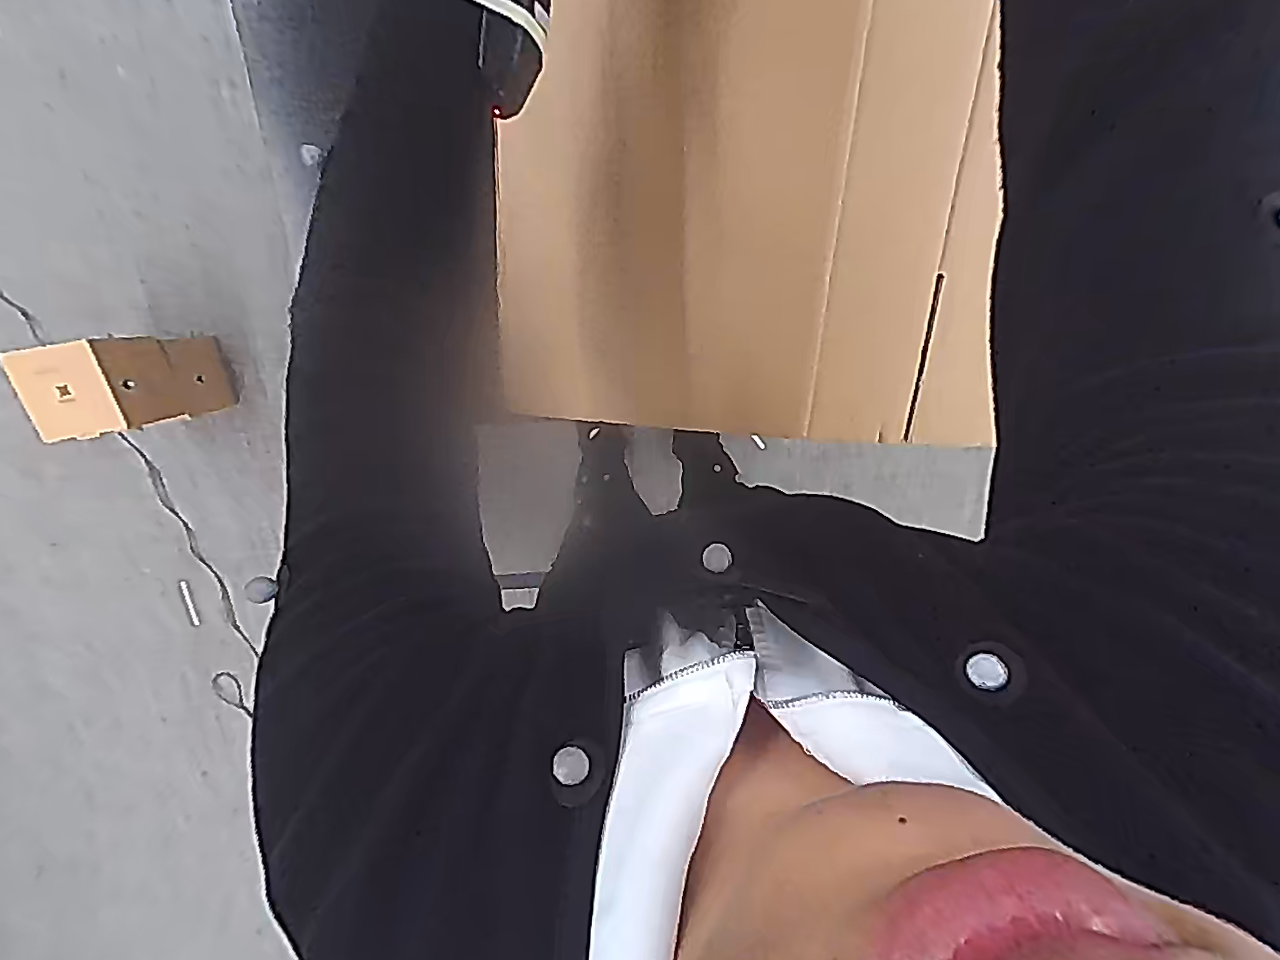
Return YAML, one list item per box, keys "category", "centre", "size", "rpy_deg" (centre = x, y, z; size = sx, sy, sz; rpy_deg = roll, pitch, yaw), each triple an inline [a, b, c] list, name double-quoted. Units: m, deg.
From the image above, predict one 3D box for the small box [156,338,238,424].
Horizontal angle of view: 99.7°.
- category: "small box"
  centre: [-1.089, -0.232, 1.255]
  size: [0.168, 0.176, 0.179]
  rpy_deg: [-7, 108, -1]

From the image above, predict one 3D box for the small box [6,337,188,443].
- category: "small box"
  centre: [-1.081, -0.189, 1.098]
  size: [0.168, 0.176, 0.179]
  rpy_deg: [-10, 107, -1]
